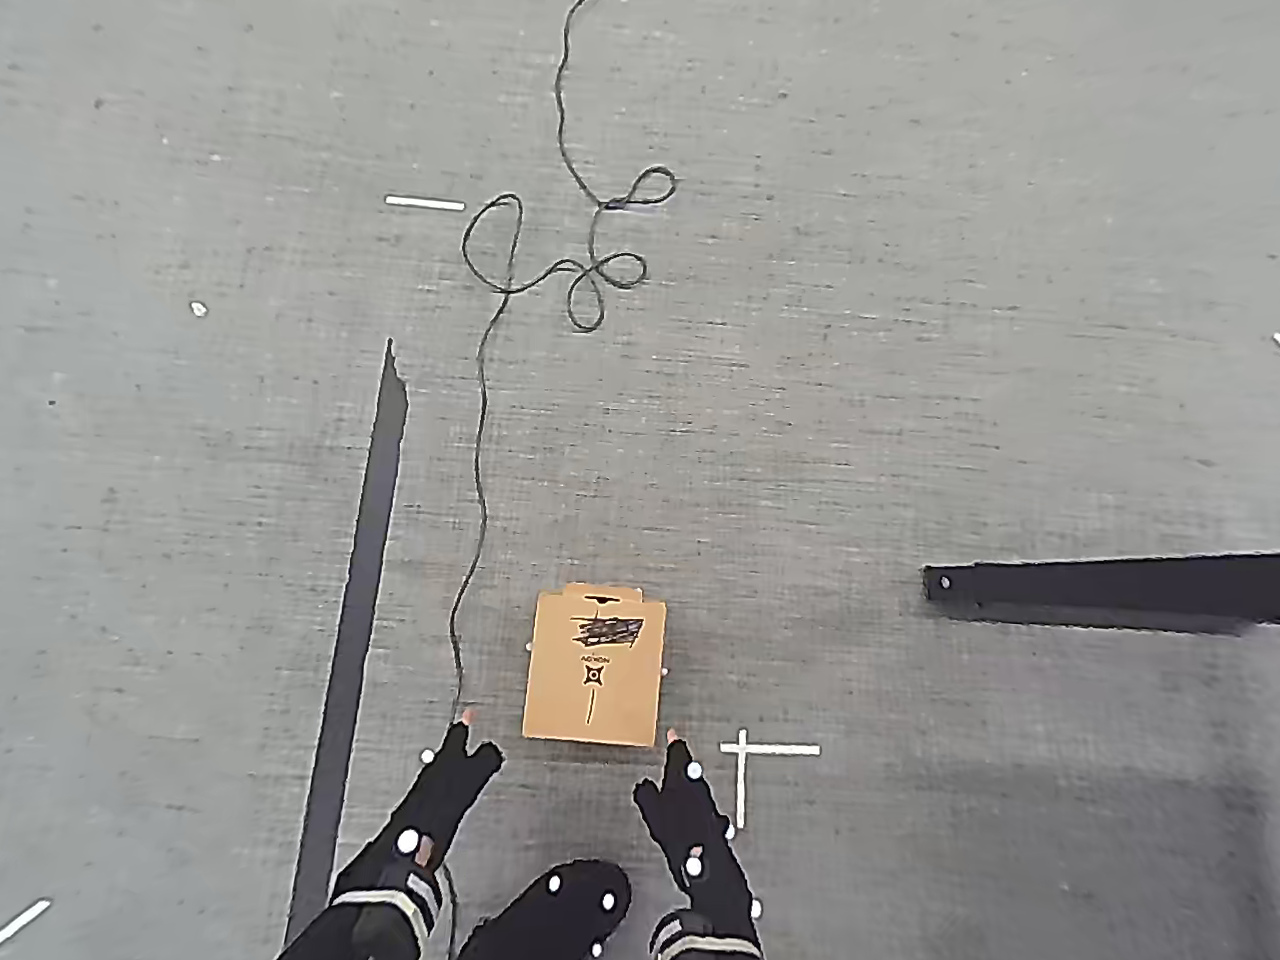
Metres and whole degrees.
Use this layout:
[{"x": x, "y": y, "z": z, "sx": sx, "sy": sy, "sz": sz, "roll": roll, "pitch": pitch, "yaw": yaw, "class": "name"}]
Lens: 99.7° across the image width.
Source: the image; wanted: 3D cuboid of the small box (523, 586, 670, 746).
[{"x": -0.056, "y": 0.243, "z": 0.745, "sx": 0.168, "sy": 0.176, "sz": 0.179, "roll": 7, "pitch": 79, "yaw": -2, "class": "small box"}]
